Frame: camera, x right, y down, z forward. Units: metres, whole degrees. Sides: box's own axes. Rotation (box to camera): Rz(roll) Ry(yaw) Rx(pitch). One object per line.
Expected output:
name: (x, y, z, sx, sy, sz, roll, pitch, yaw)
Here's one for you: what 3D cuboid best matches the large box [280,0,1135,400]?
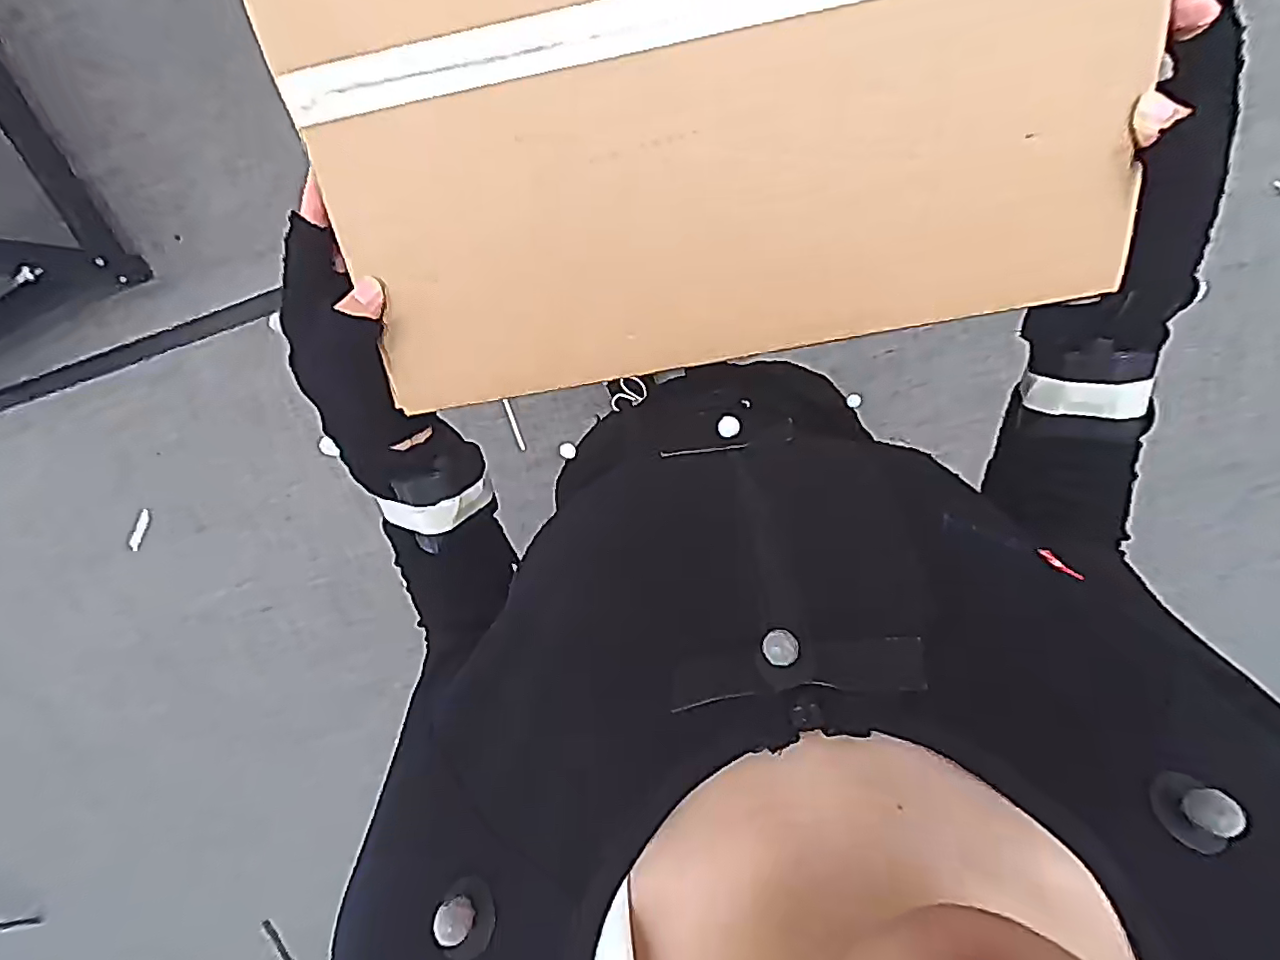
large box: (0.030, -0.276, 0.395, 0.408, 0.320, 0.320, -9, 114, 4)
